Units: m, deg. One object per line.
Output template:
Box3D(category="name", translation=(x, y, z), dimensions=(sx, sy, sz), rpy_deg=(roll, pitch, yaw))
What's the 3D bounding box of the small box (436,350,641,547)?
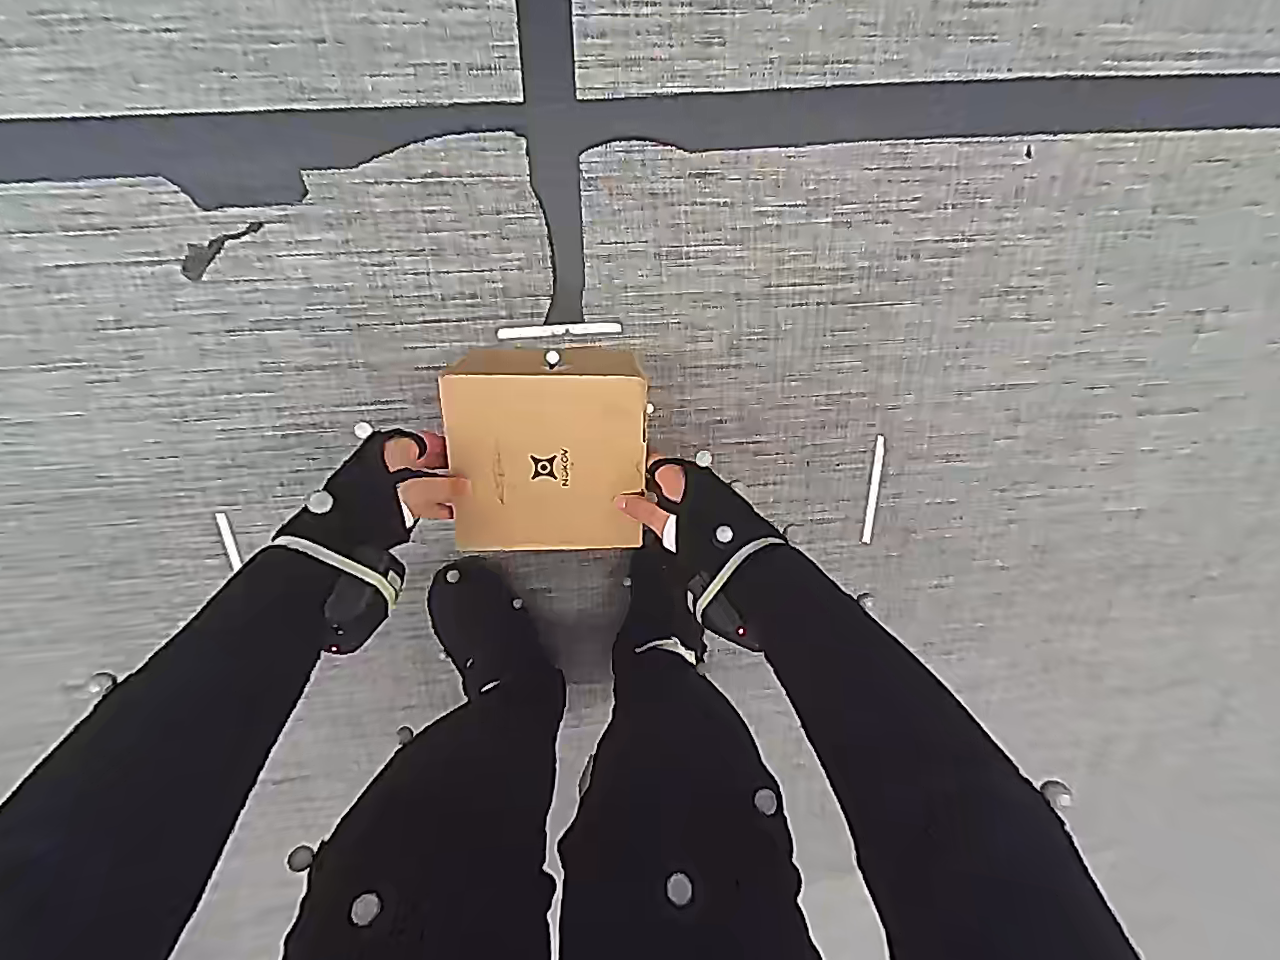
Box3D(category="small box", translation=(-0.093, -0.043, 0.562), dimensions=(0.179, 0.176, 0.168), rpy_deg=(-1, 110, -4))
